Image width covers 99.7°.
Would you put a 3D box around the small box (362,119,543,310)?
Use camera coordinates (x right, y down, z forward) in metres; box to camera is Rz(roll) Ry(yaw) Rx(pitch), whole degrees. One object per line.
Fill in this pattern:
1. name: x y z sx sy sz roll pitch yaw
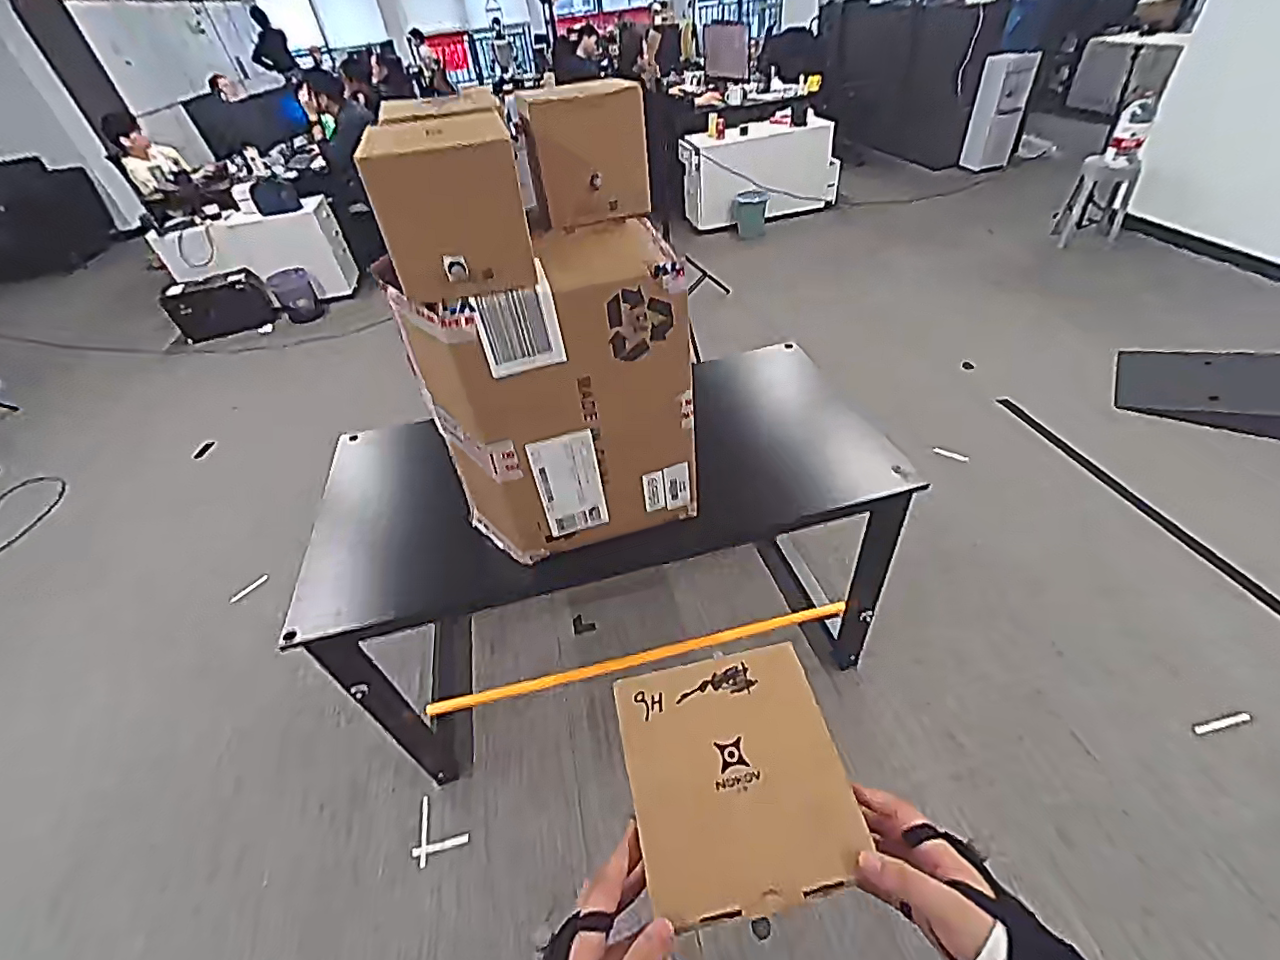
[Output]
1. small box: -0.229 -0.339 0.688 0.168 0.176 0.179 -15 45 -9

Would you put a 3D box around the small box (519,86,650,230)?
1. small box: -0.088 -0.517 0.868 0.168 0.176 0.179 -15 41 -9
